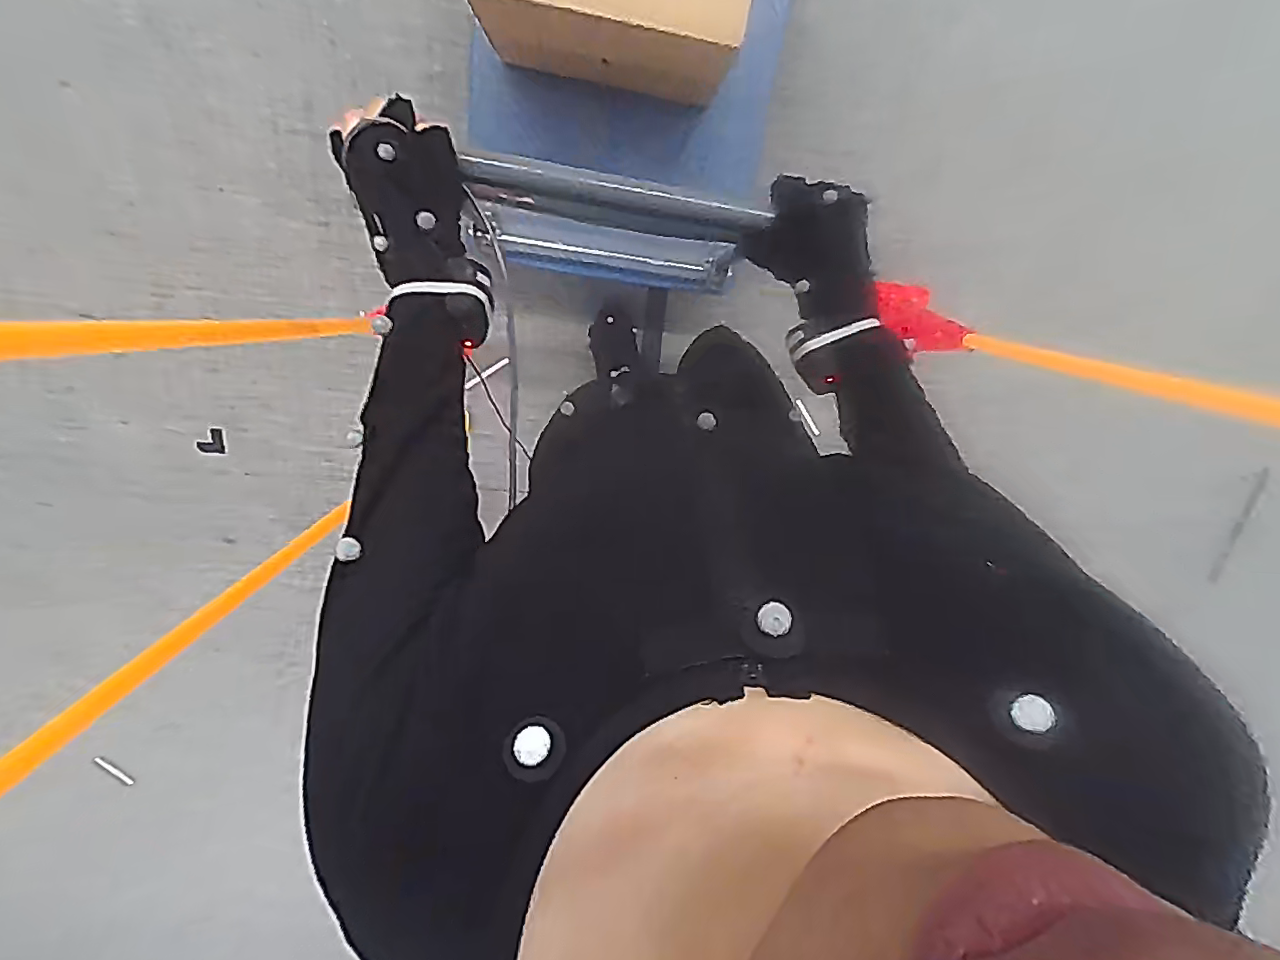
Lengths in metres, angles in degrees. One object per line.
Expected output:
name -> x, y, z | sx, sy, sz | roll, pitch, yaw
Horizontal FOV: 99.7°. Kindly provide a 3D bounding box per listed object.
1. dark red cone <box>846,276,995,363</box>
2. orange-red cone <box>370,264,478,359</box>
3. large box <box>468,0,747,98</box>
dark red cone -> 0.637, -0.344, 1.204 | 0.201, 0.394, 0.202 | 4, 110, -6
orange-red cone -> -0.496, -0.355, 1.167 | 0.198, 0.360, 0.199 | 11, 108, -8
large box -> -0.034, -0.849, 0.849 | 0.408, 0.320, 0.320 | 8, 111, -5
